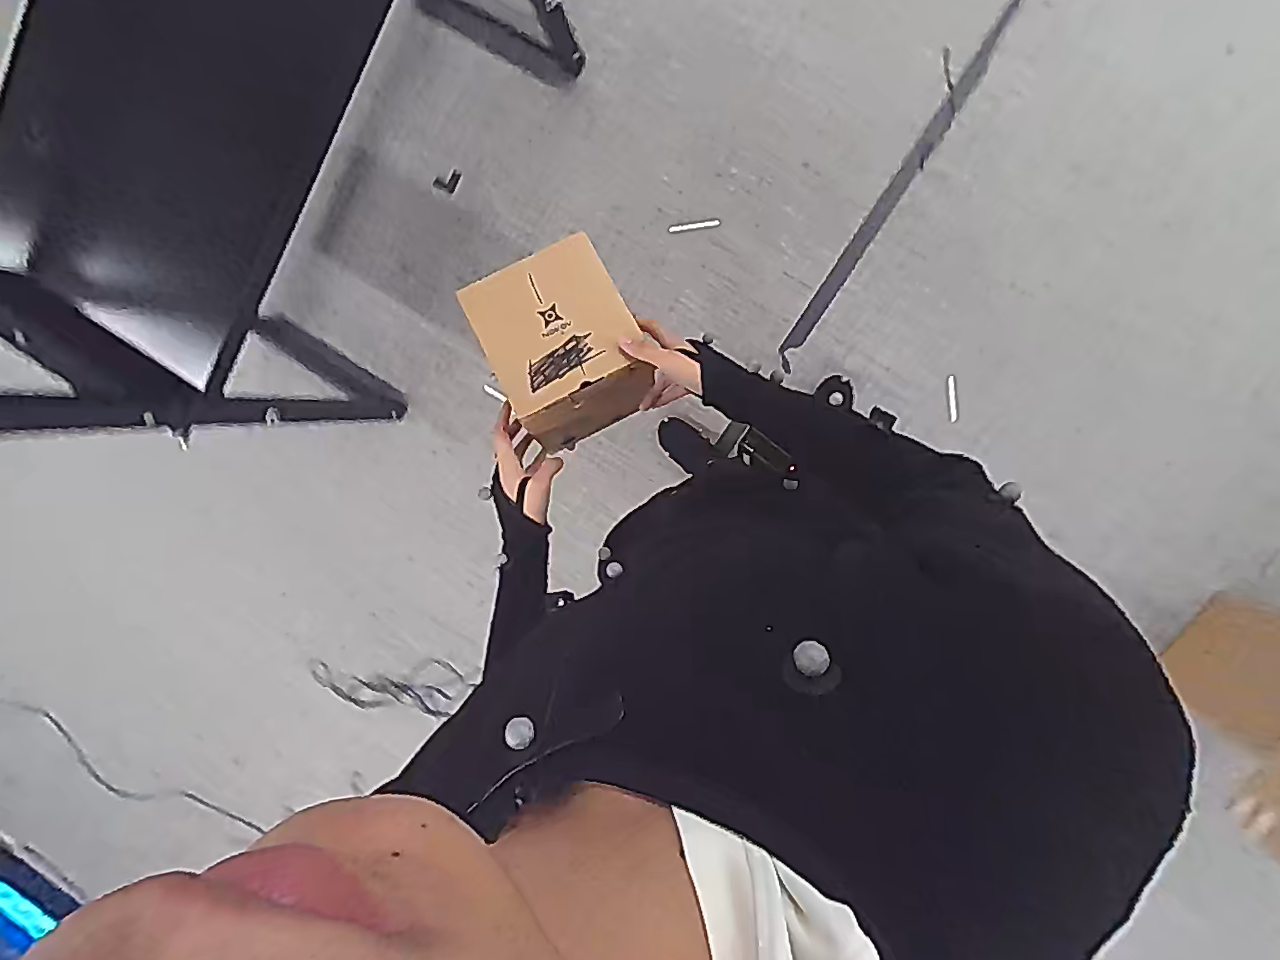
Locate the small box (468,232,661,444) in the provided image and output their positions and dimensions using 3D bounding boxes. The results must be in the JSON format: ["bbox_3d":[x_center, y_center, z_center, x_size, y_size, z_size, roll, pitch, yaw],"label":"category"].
[{"bbox_3d":[-0.081,-0.160,0.677,0.168,0.176,0.179,-27,80,-3],"label":"small box"}]
